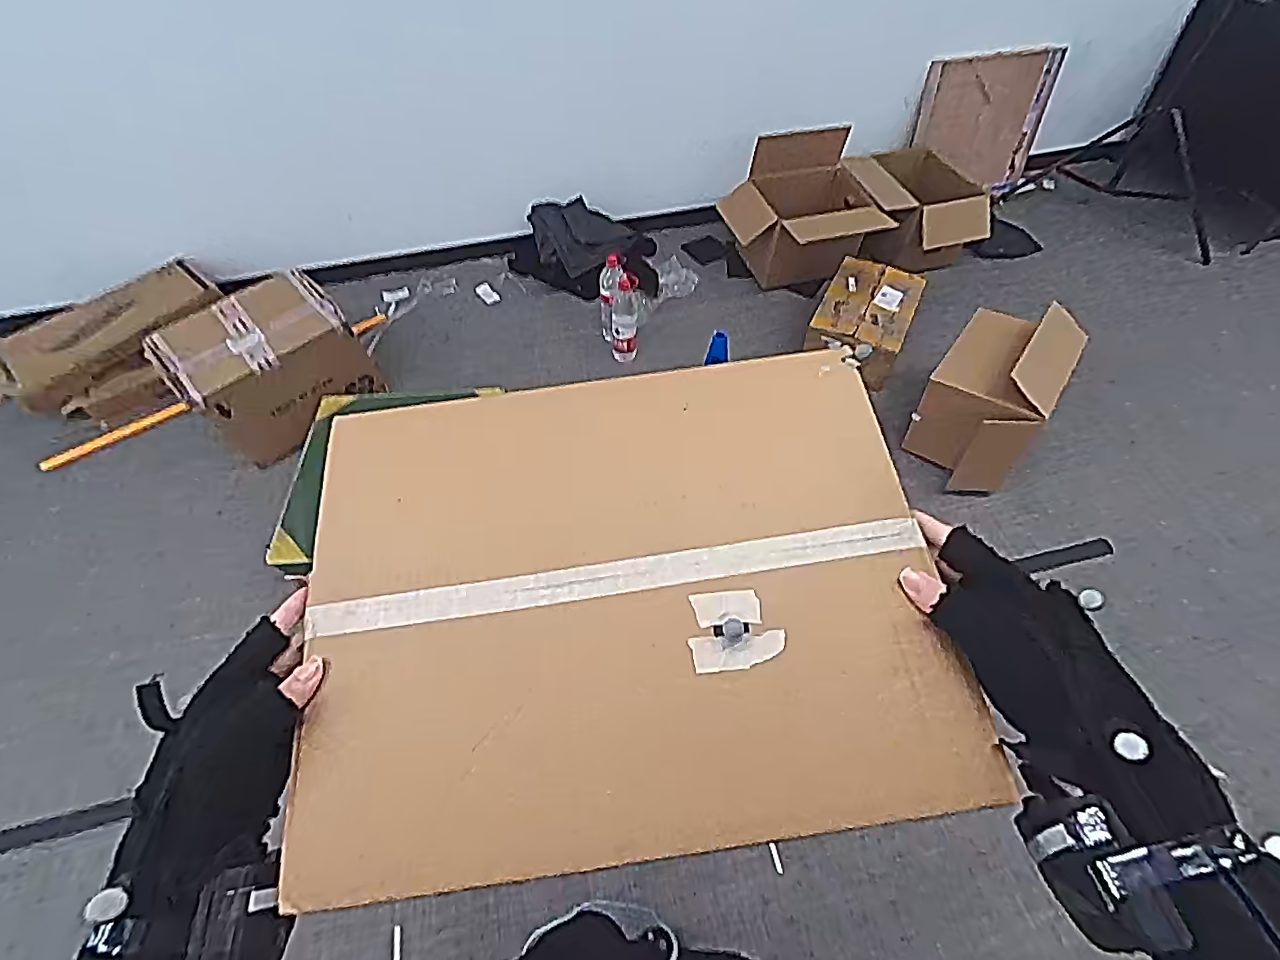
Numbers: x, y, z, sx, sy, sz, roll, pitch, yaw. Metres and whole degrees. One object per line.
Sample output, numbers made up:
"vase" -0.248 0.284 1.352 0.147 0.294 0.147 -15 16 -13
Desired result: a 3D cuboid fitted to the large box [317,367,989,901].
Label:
"large box" -0.006 0.135 0.508 0.408 0.320 0.320 -8 65 -2
